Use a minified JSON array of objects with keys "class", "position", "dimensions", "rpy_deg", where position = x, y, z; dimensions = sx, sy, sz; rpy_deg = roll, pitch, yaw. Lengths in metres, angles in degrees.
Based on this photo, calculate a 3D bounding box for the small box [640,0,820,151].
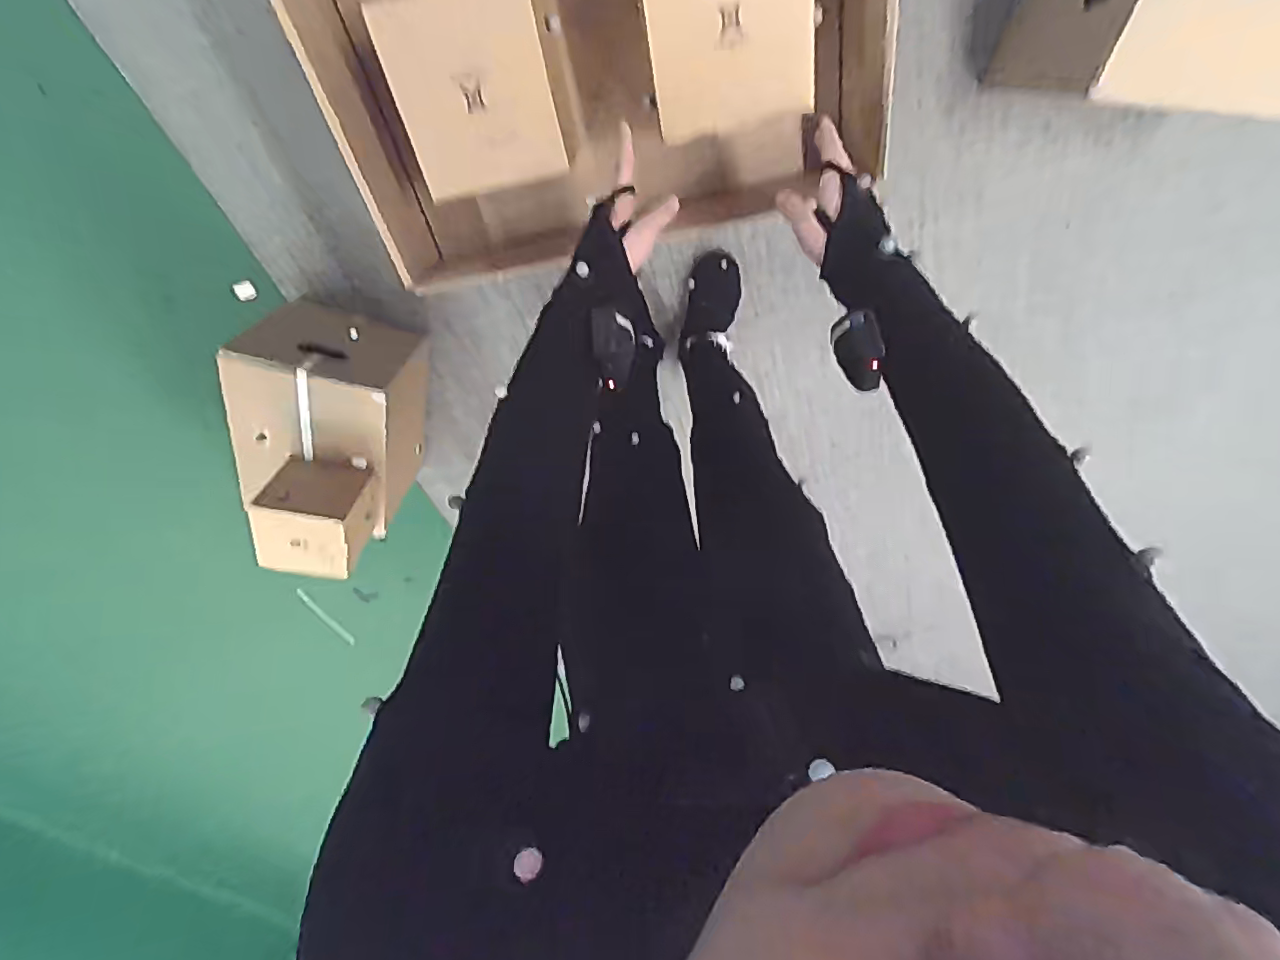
[{"class":"small box","position":[0.093,-0.487,0.599],"dimensions":[0.168,0.176,0.179],"rpy_deg":[-10,127,6]}]

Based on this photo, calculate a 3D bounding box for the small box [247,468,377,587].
[{"class":"small box","position":[-0.671,0.094,1.125],"dimensions":[0.179,0.176,0.168],"rpy_deg":[11,125,-11]}]
